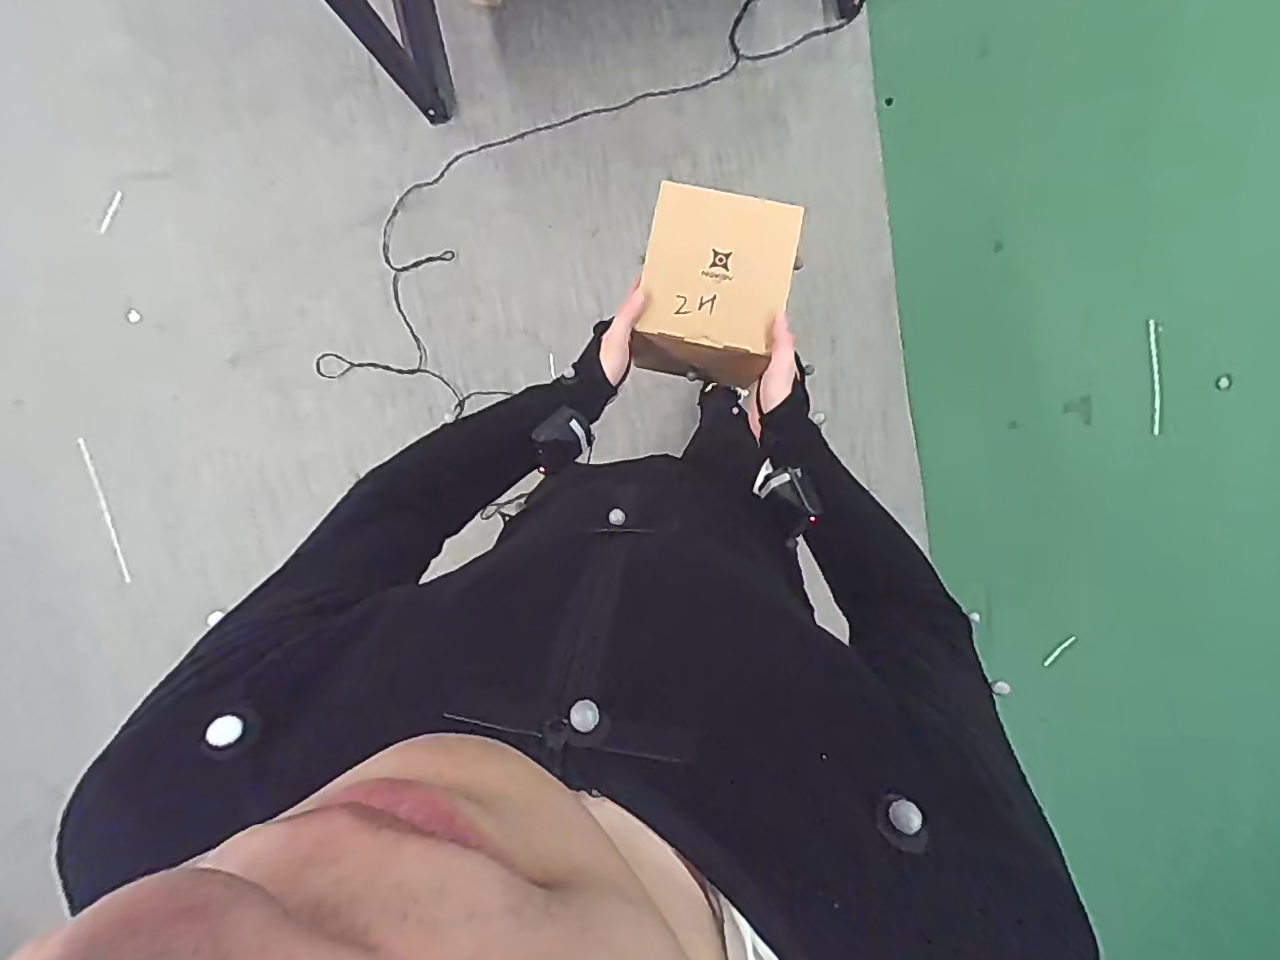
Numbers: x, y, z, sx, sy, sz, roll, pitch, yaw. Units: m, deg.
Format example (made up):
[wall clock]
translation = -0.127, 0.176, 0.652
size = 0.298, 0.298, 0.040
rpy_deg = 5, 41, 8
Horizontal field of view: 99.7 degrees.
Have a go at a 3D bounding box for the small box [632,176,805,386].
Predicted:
[small box]
translation = 0.087, -0.233, 0.673
size = 0.168, 0.176, 0.179
rpy_deg = 12, 87, 2
